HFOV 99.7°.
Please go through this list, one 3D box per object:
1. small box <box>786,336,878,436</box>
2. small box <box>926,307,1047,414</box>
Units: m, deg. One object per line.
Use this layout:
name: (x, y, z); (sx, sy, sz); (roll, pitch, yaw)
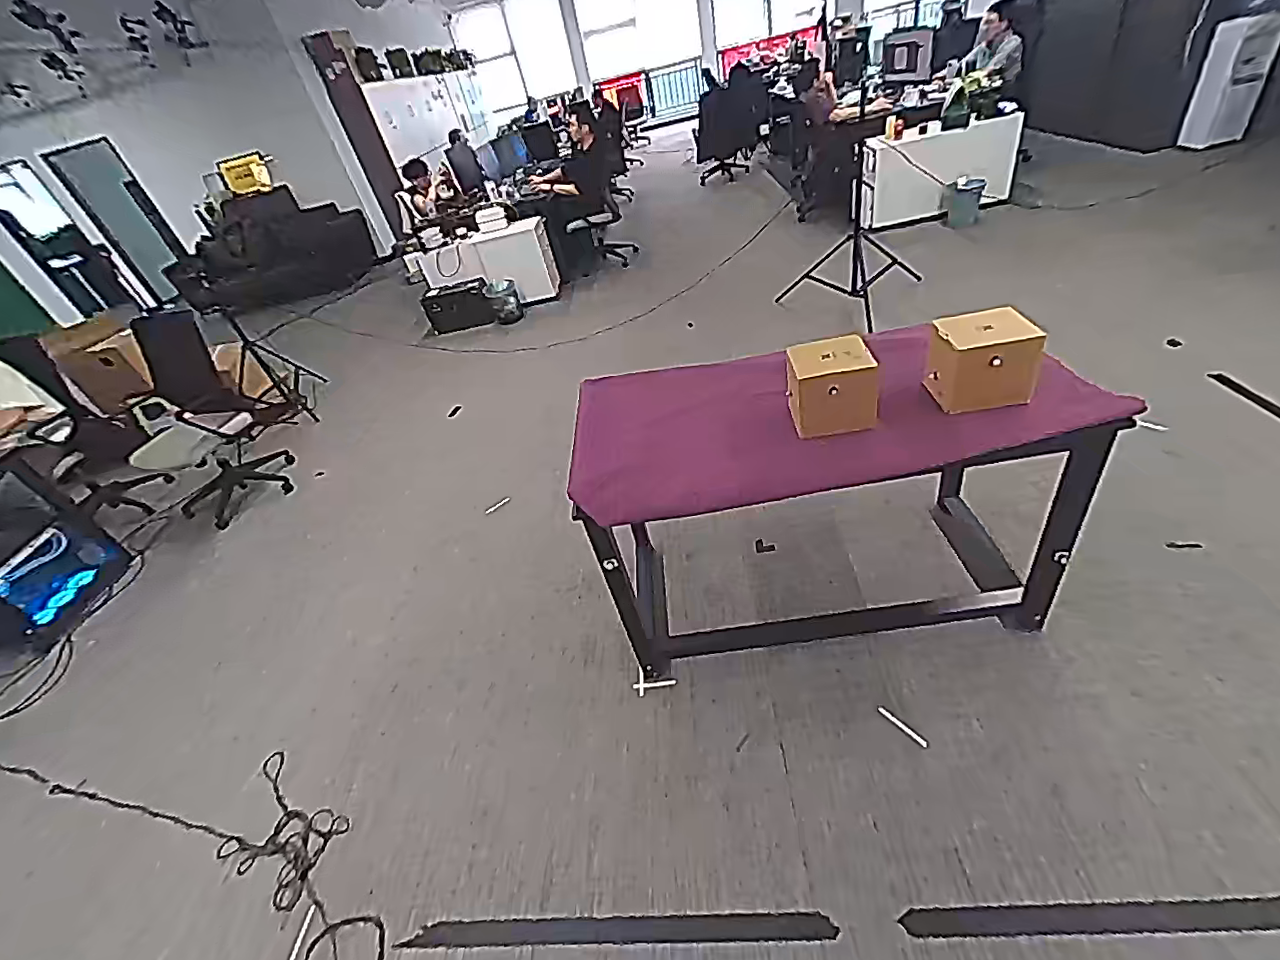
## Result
small box: (0.454, -0.221, 1.294); (0.179, 0.176, 0.168); (-8, 39, 9)
small box: (0.783, -0.272, 1.244); (0.179, 0.176, 0.168); (-9, 37, 10)
